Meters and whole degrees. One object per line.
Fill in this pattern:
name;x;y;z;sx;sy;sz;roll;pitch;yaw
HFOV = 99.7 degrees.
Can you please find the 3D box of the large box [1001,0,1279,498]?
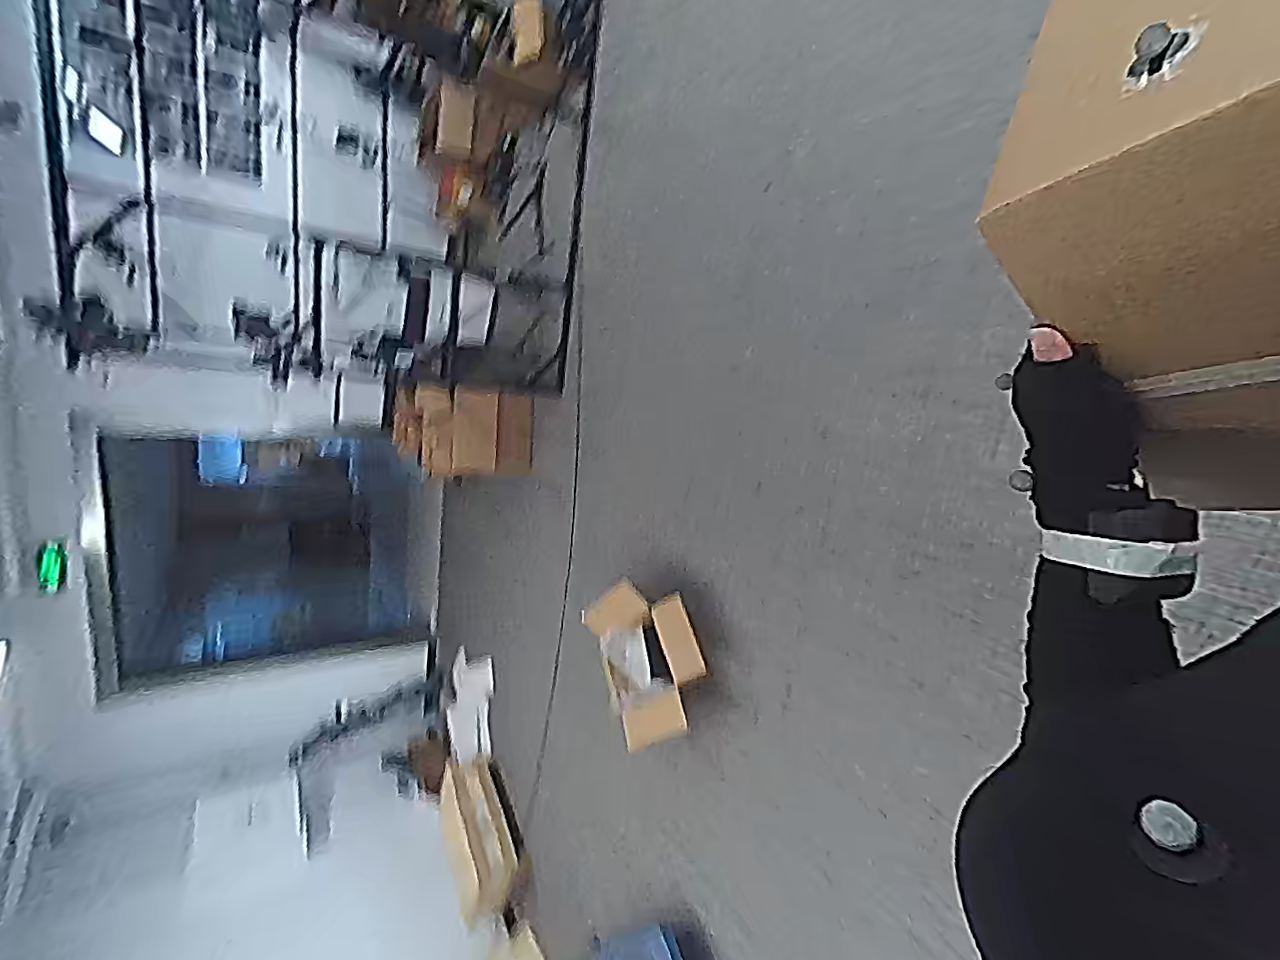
large box;0.473;-0.201;0.238;0.408;0.320;0.320;-3;56;58
